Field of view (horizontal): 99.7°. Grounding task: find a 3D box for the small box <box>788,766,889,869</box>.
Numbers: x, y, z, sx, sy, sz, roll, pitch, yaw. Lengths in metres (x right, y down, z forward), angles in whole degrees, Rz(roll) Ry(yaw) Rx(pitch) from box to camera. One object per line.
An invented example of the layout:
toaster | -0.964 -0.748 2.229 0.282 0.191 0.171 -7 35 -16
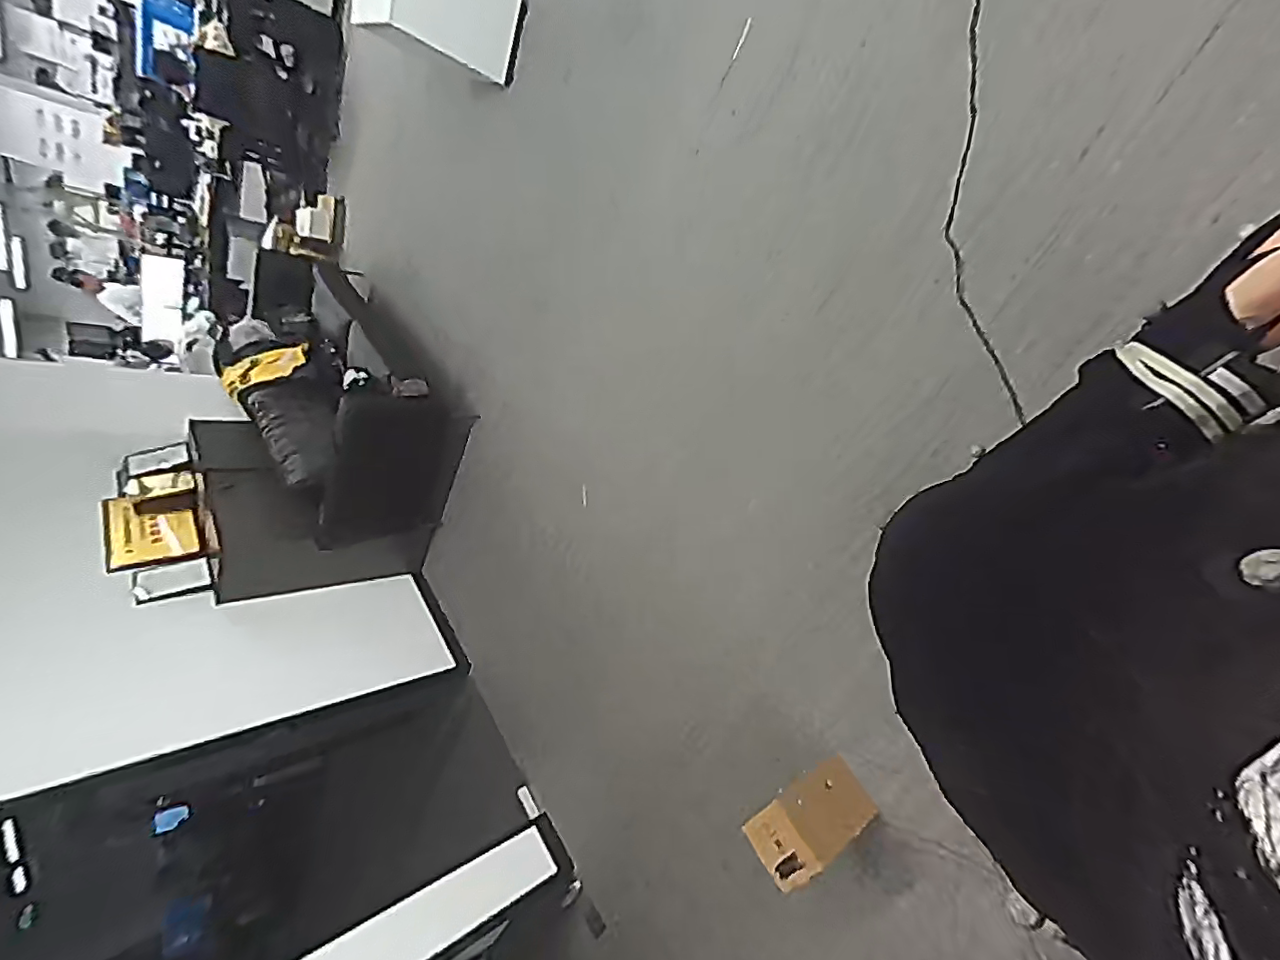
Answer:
small box | 0.564 0.945 1.536 0.179 0.176 0.168 52 125 31
